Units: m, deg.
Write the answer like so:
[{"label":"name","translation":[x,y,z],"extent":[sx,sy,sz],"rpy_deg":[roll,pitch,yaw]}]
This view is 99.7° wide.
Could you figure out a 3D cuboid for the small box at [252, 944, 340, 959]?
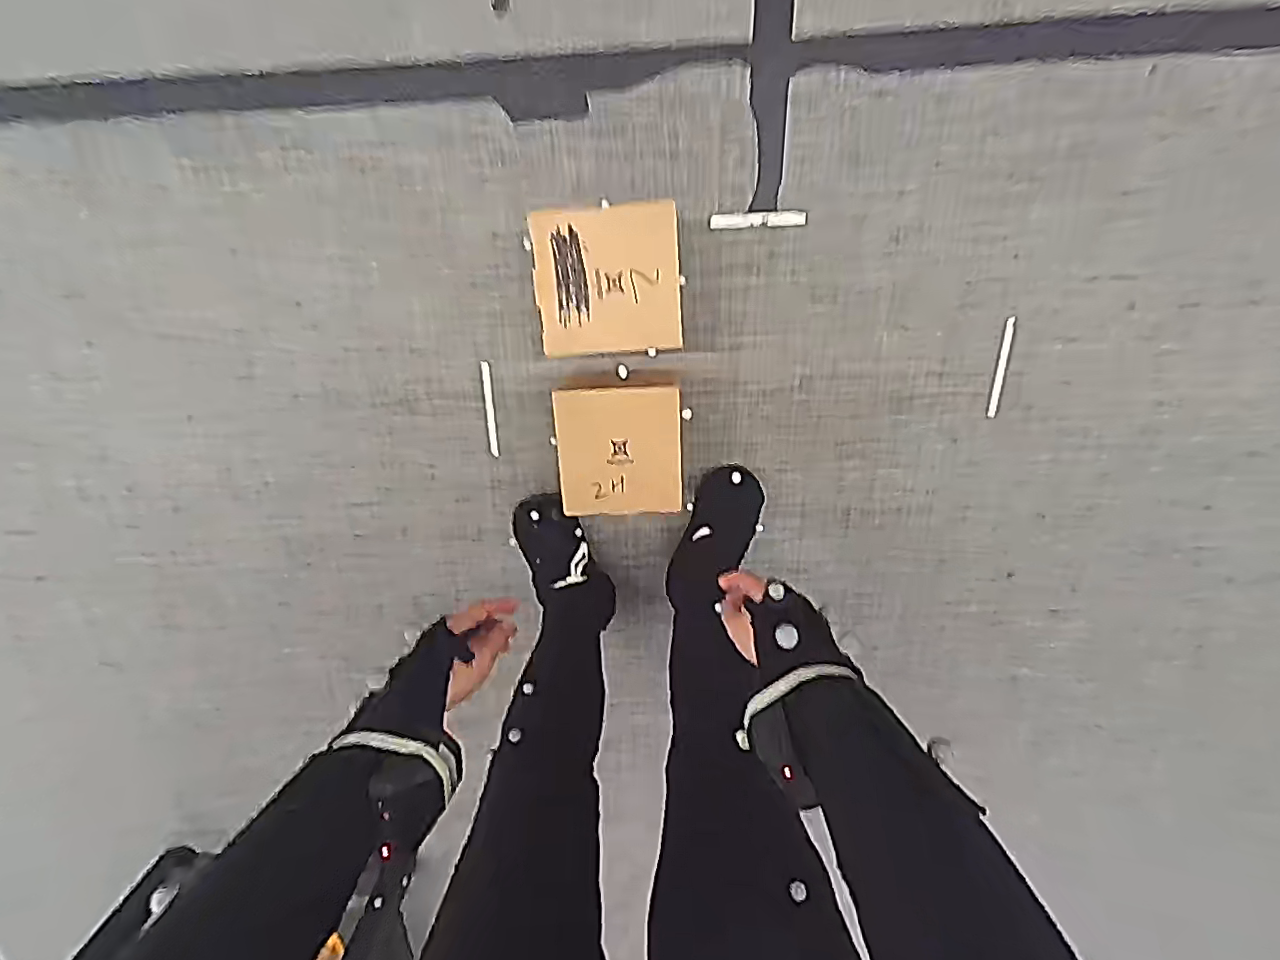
[{"label":"small box","translation":[-0.736,1.094,1.105],"extent":[0.179,0.176,0.168],"rpy_deg":[-3,111,0]}]
